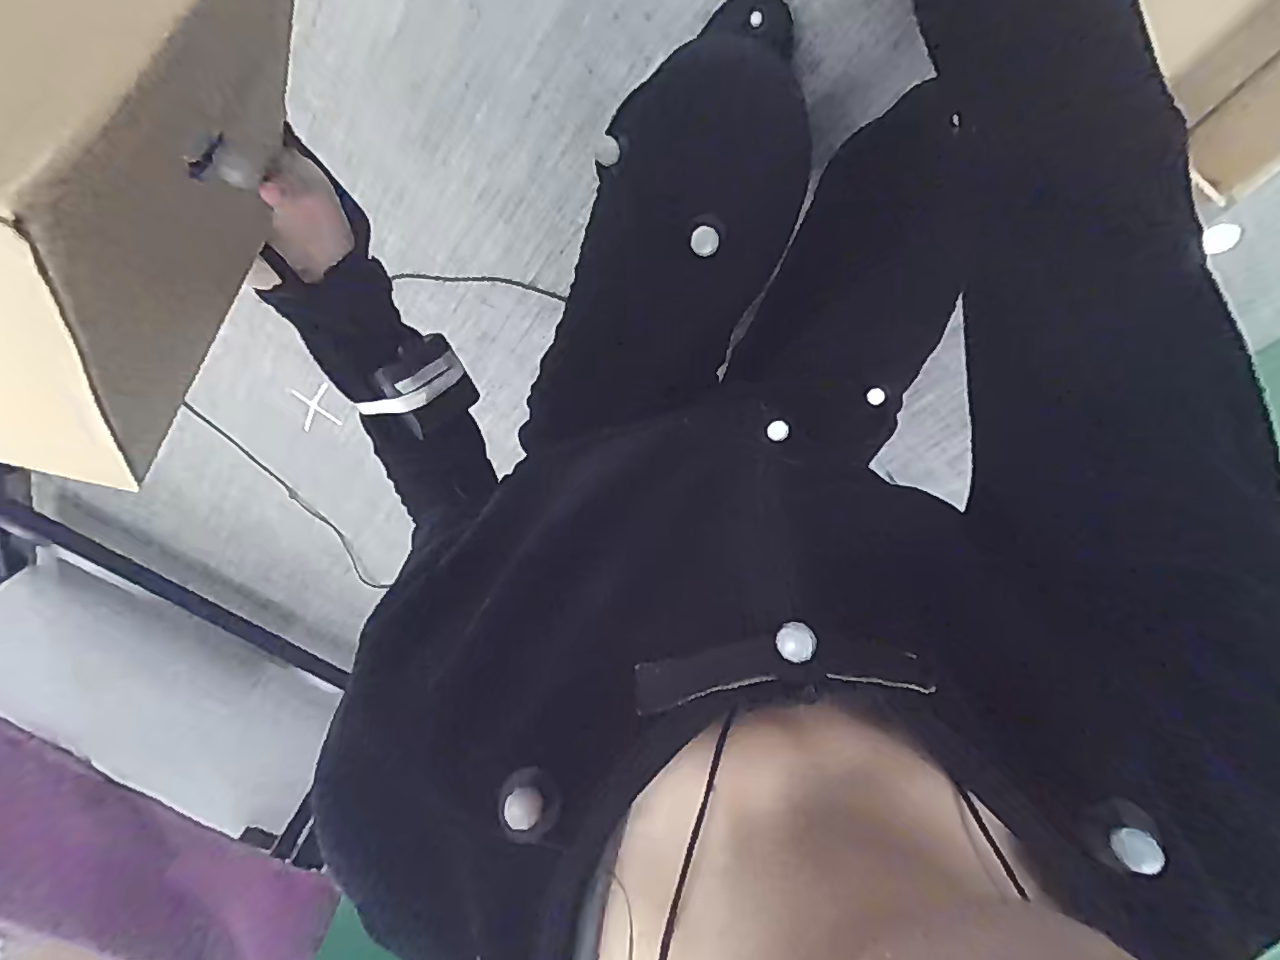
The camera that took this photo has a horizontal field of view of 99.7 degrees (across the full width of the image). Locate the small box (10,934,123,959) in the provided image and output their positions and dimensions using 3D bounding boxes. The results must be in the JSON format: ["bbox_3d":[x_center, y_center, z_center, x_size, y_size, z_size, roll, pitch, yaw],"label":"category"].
[{"bbox_3d":[-1.204,1.039,1.083,0.179,0.176,0.168,35,127,-14],"label":"small box"}]

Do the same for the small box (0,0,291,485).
[{"bbox_3d":[-0.232,-0.121,0.169,0.168,0.176,0.179,21,151,-30],"label":"small box"}]
